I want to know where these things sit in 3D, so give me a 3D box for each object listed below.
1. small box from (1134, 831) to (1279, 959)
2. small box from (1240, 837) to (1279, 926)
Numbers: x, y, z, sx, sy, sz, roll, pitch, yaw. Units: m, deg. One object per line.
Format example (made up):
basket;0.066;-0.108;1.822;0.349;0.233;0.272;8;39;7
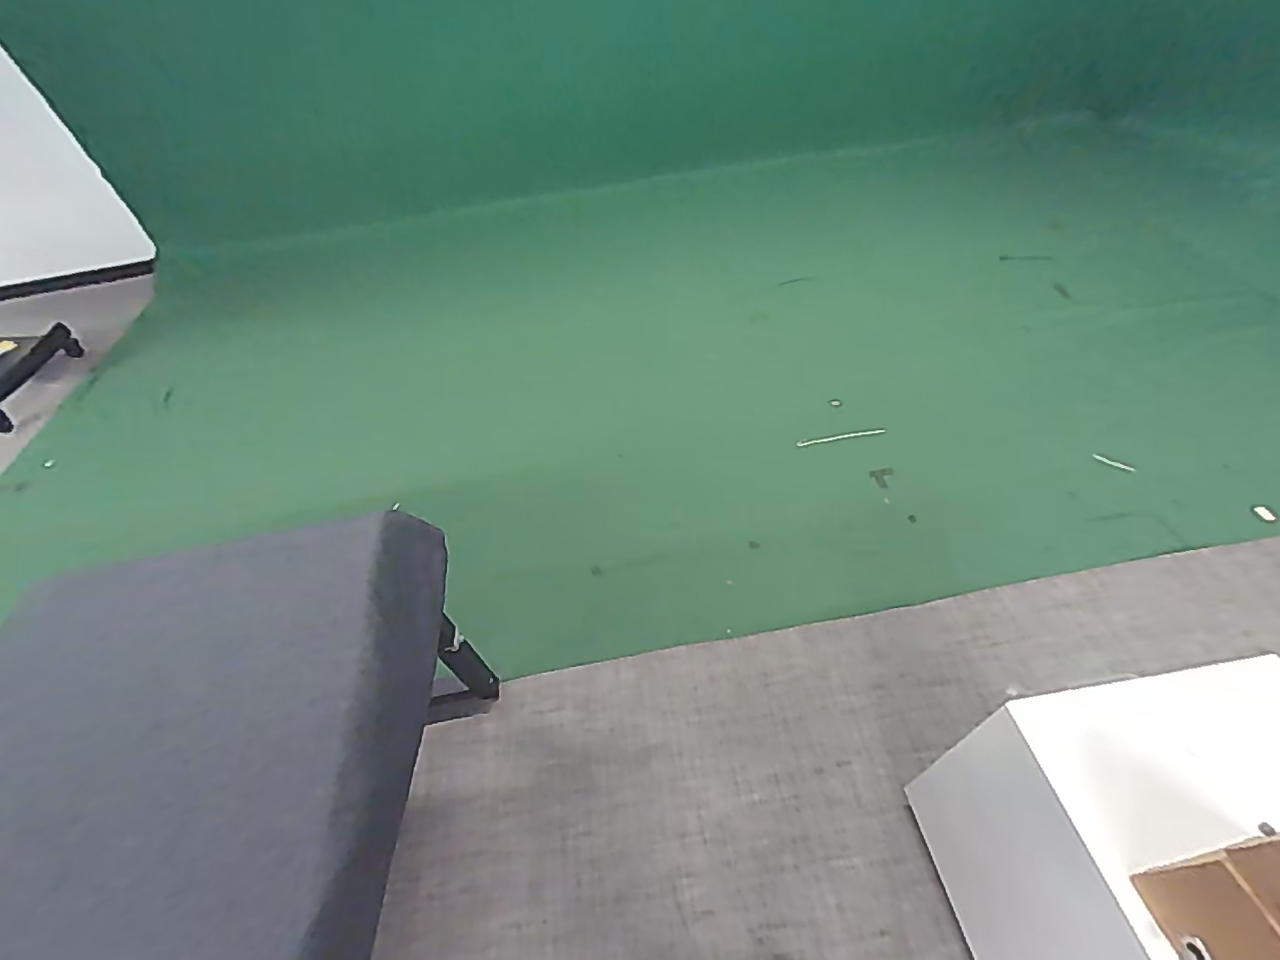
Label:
small box;0.652;0.445;0.519;0.179;0.176;0.168;-14;48;-2
small box;0.638;0.335;0.398;0.179;0.176;0.168;-14;49;-6
